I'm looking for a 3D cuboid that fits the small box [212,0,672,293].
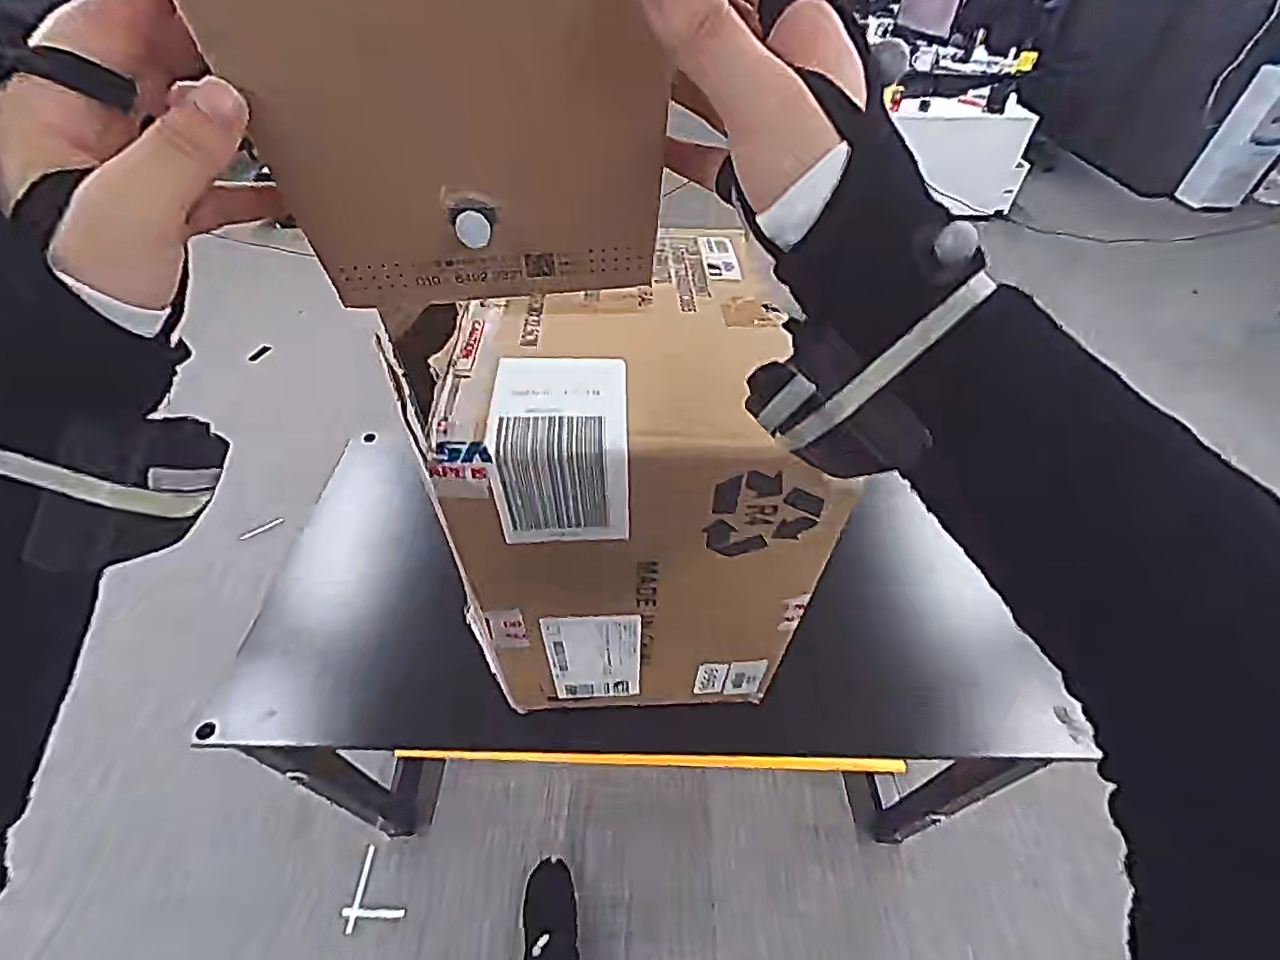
[{"bbox_3d":[-0.084,-0.218,0.264,0.168,0.176,0.179,-7,62,-7],"label":"small box"}]
